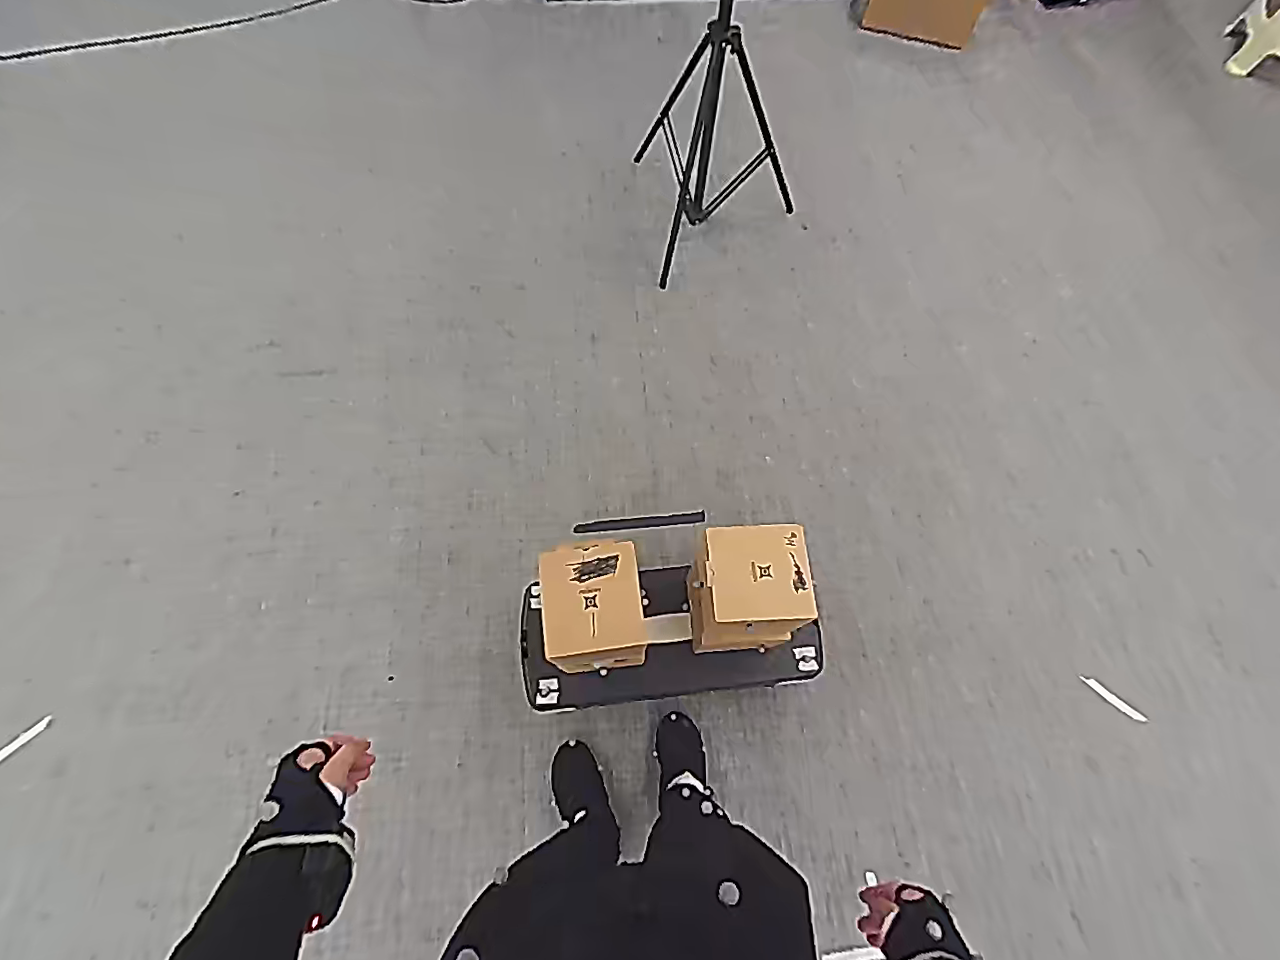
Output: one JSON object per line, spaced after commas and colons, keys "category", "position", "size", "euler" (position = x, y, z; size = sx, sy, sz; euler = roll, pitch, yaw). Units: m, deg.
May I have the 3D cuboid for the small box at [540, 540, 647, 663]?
{"category": "small box", "position": [-0.083, 0.221, 0.965], "size": [0.168, 0.176, 0.179], "euler": [-7, 68, -4]}

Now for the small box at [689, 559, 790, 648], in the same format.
{"category": "small box", "position": [0.195, 0.260, 1.135], "size": [0.179, 0.176, 0.168], "euler": [-4, 68, -2]}

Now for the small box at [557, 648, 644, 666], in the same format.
{"category": "small box", "position": [-0.084, 0.289, 1.115], "size": [0.168, 0.176, 0.179], "euler": [-6, 68, -4]}

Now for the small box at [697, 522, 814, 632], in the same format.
{"category": "small box", "position": [0.199, 0.183, 0.992], "size": [0.179, 0.176, 0.168], "euler": [-3, 68, -1]}
